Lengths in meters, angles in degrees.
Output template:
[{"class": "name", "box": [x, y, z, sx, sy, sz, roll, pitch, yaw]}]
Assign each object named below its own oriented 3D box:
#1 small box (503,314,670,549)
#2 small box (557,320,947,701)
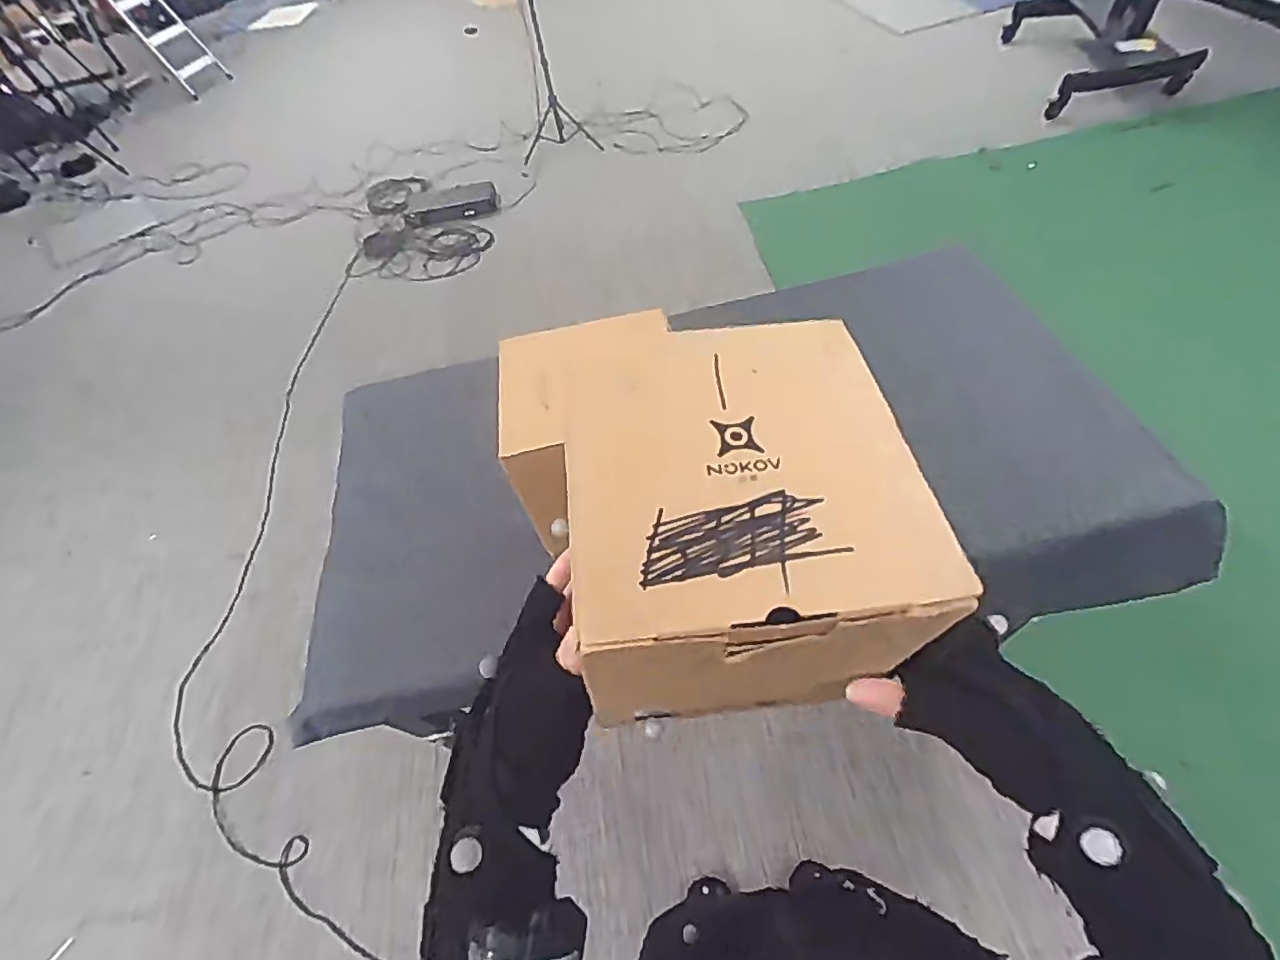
[{"class": "small box", "box": [-0.037, -0.047, 0.584, 0.179, 0.176, 0.168, -12, 51, 1]}, {"class": "small box", "box": [0.042, 0.028, 0.336, 0.168, 0.176, 0.179, -5, 56, -5]}]
